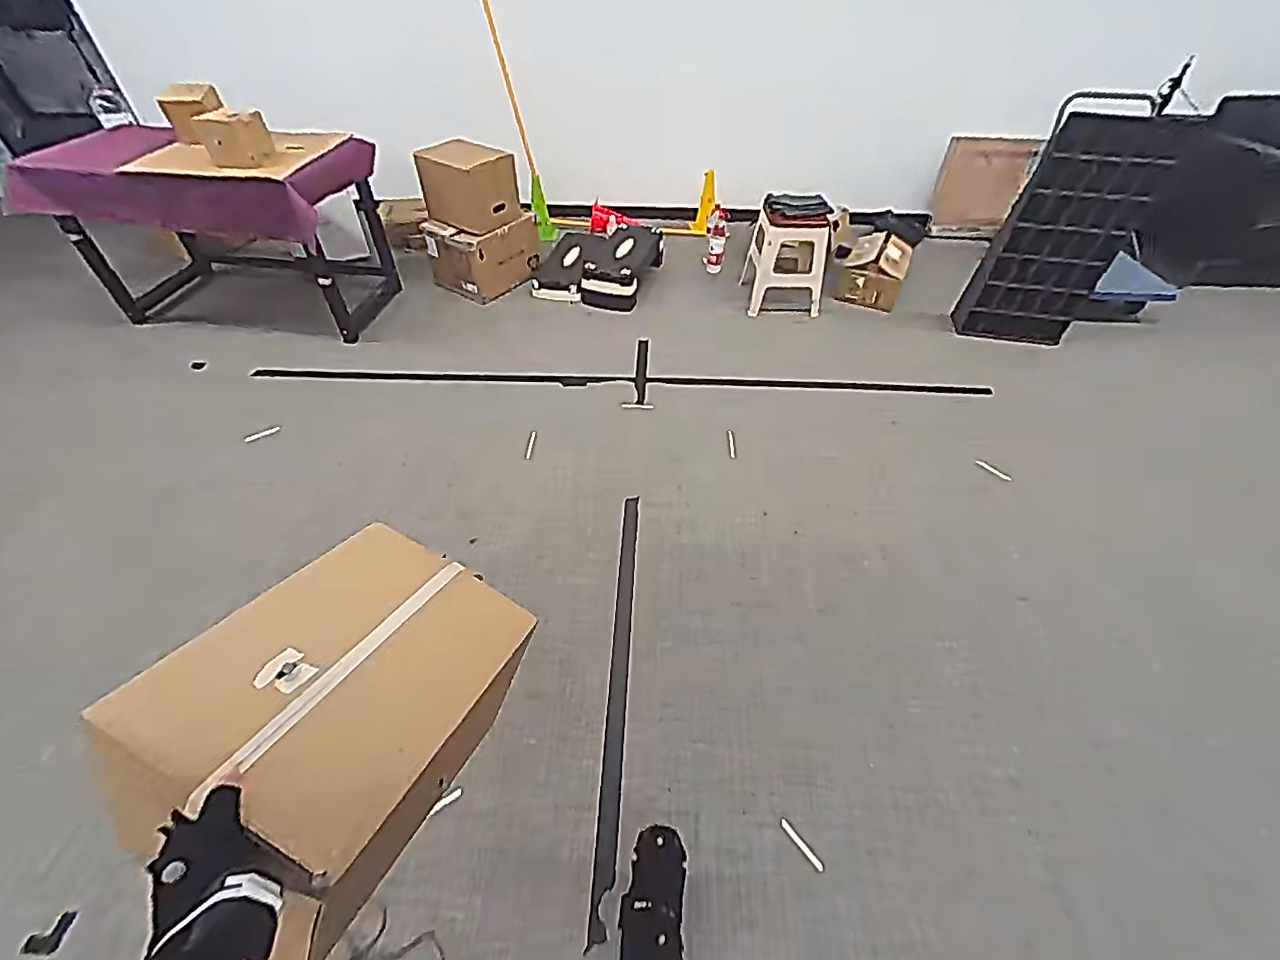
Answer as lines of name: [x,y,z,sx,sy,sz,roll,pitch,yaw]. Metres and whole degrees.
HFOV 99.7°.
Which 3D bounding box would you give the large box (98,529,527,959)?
large box: [-0.426,0.351,0.791,0.320,0.320,0.408,29,33,5]
